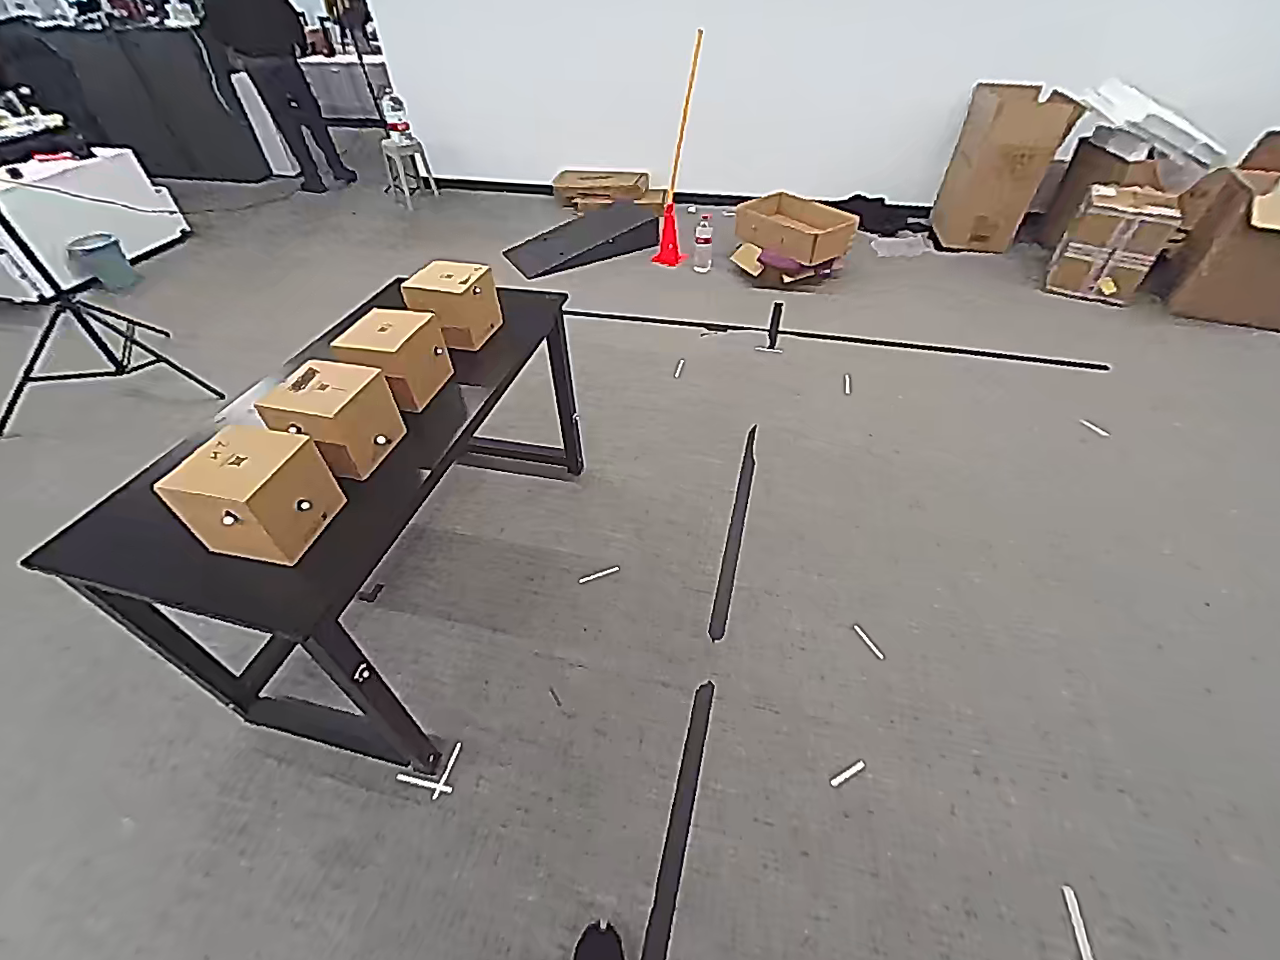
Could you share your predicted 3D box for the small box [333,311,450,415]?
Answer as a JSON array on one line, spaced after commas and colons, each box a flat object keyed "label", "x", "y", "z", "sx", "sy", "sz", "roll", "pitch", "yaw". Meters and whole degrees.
[{"label": "small box", "x": -0.574, "y": -0.278, "z": 1.280, "sx": 0.168, "sy": 0.176, "sz": 0.179, "roll": 7, "pitch": 46, "yaw": 11}]

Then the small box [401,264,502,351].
[{"label": "small box", "x": -0.501, "y": -0.466, "z": 1.464, "sx": 0.179, "sy": 0.176, "sz": 0.168, "roll": 9, "pitch": 46, "yaw": 13}]
